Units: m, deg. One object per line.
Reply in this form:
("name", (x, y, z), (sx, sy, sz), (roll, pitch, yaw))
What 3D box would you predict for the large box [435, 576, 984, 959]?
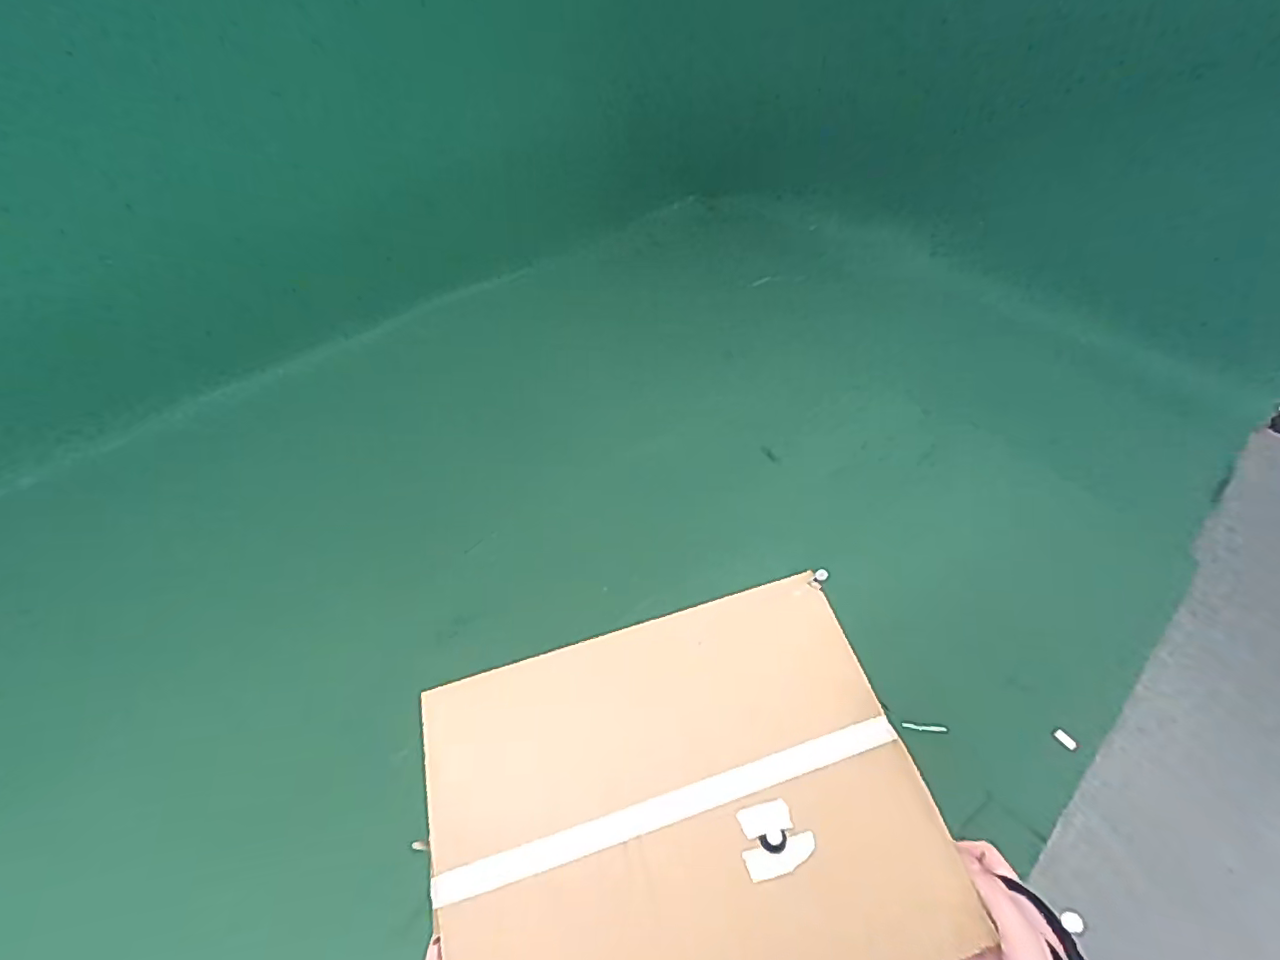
("large box", (0.039, 0.356, 0.591), (0.408, 0.320, 0.320), (-15, 59, -7))
